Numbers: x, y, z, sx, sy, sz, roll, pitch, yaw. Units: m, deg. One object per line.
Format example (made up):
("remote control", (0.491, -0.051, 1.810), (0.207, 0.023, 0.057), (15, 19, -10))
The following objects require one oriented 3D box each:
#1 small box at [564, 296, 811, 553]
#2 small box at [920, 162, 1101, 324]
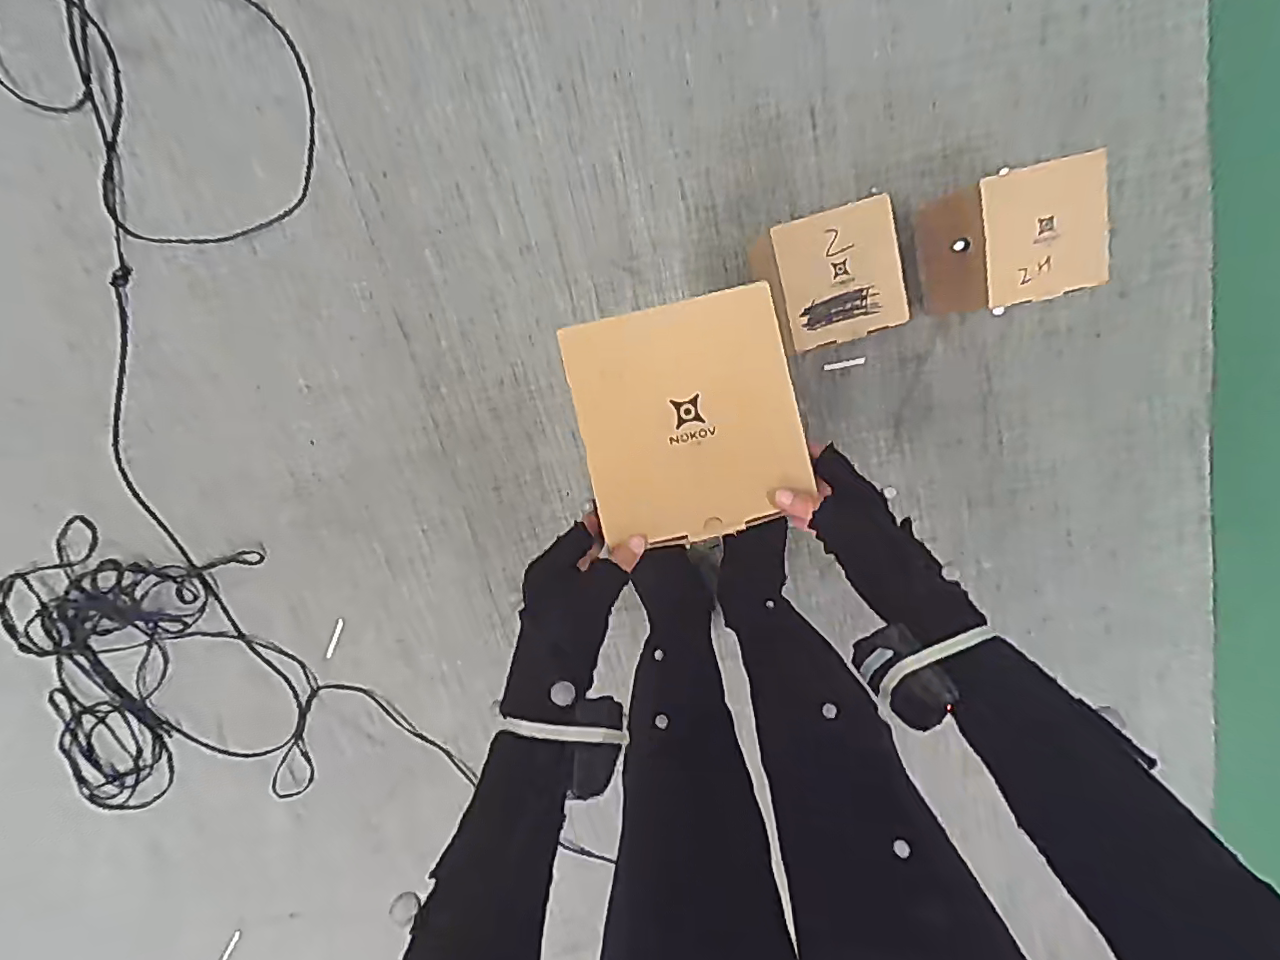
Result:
("small box", (0.035, -0.043, 0.502), (0.168, 0.176, 0.179), (-14, 90, 0))
("small box", (0.549, -0.345, 0.822), (0.168, 0.176, 0.179), (-12, 103, 4))
